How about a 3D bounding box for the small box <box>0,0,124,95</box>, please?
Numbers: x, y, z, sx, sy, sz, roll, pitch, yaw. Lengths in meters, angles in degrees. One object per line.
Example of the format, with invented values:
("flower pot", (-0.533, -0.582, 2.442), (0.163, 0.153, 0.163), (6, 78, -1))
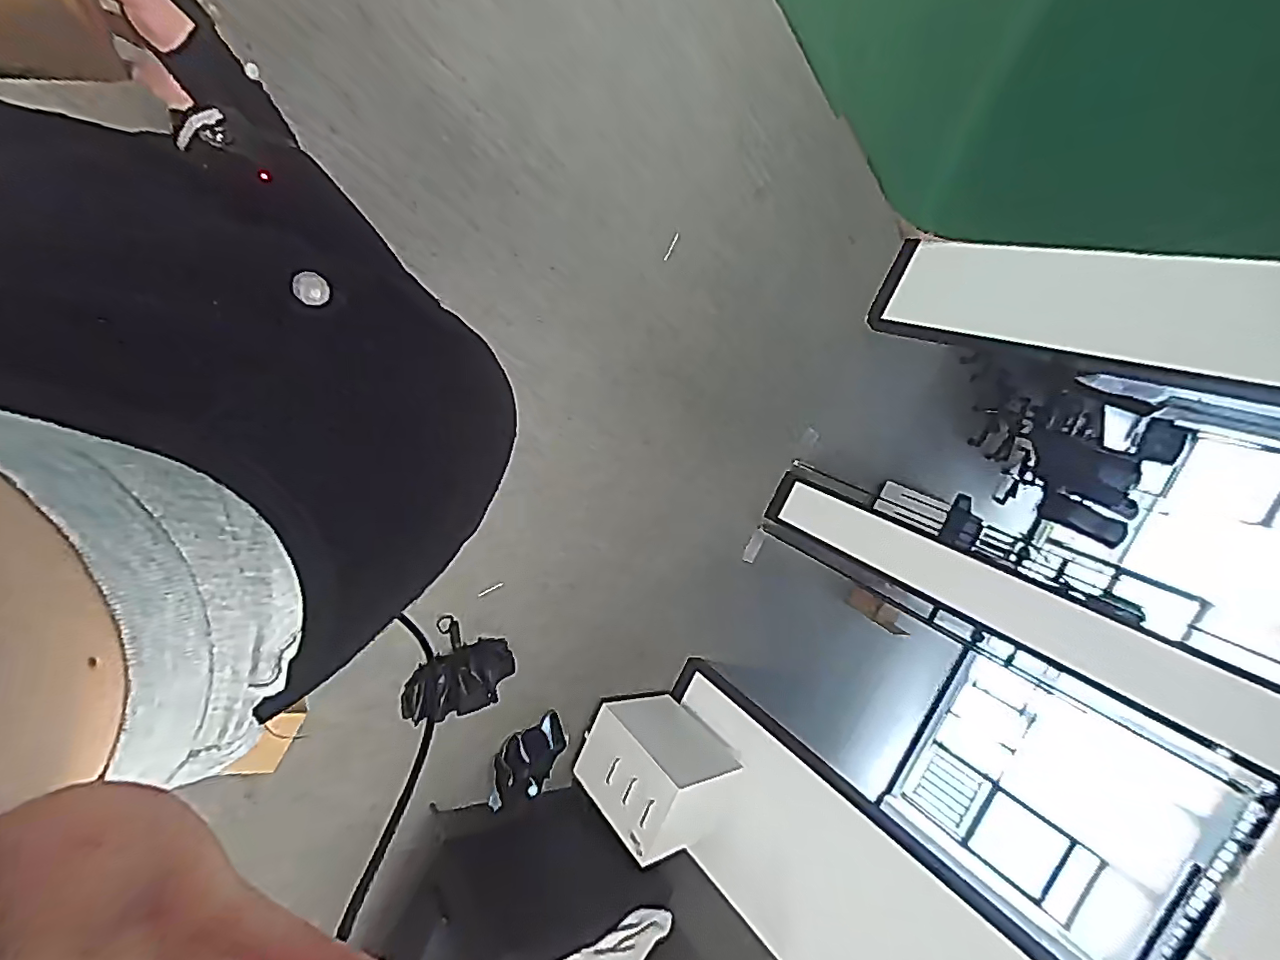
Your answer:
("small box", (-0.487, -0.379, 0.345), (0.168, 0.176, 0.179), (-17, 114, -26))
